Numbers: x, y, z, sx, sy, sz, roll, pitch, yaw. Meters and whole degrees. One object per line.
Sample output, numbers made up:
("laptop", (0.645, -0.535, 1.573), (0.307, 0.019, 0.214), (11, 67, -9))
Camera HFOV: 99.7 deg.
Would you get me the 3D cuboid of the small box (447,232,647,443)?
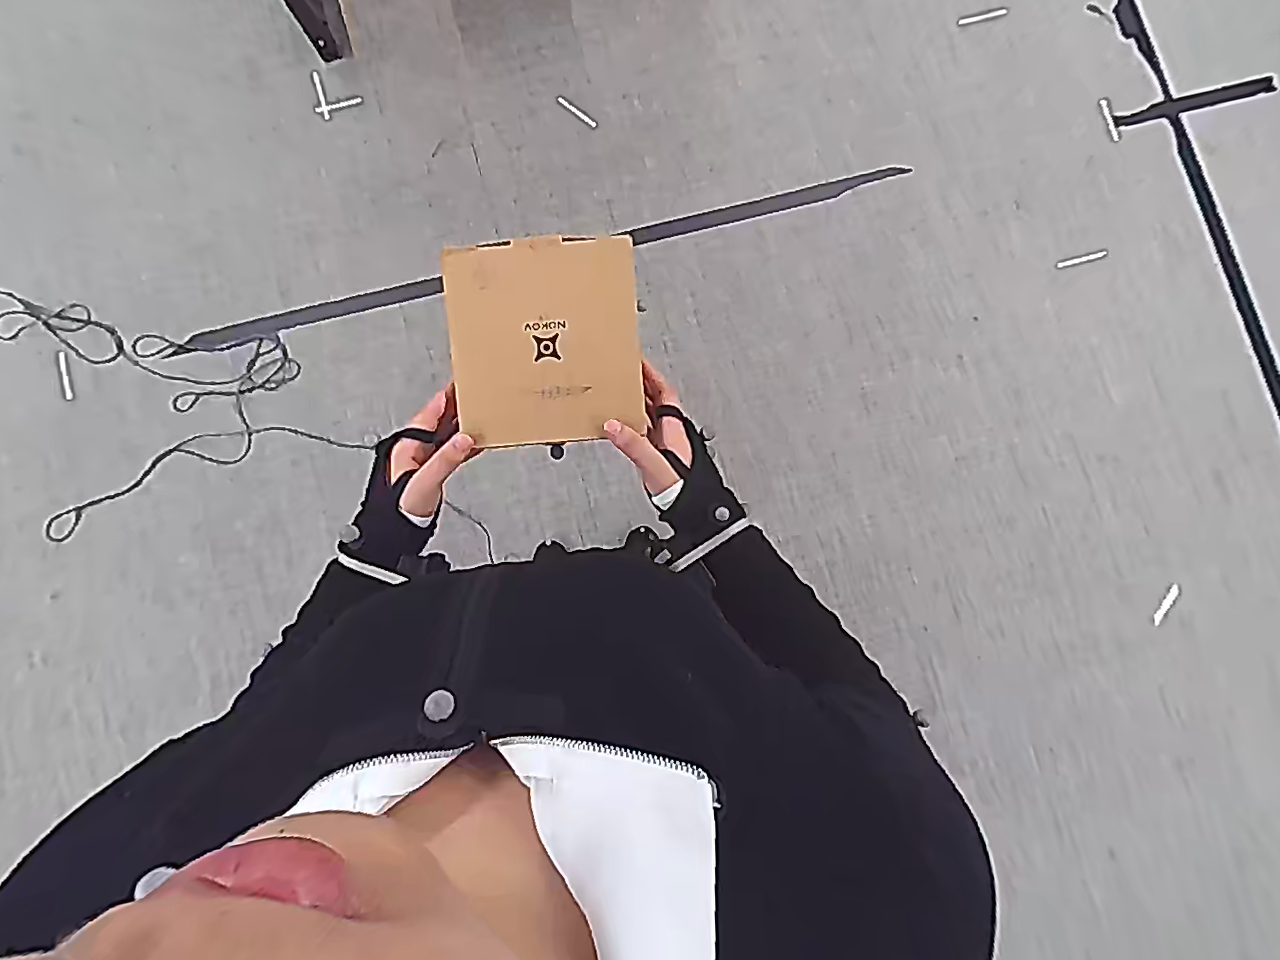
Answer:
("small box", (-0.085, -0.130, 0.553), (0.168, 0.176, 0.179), (-5, 94, -2))
